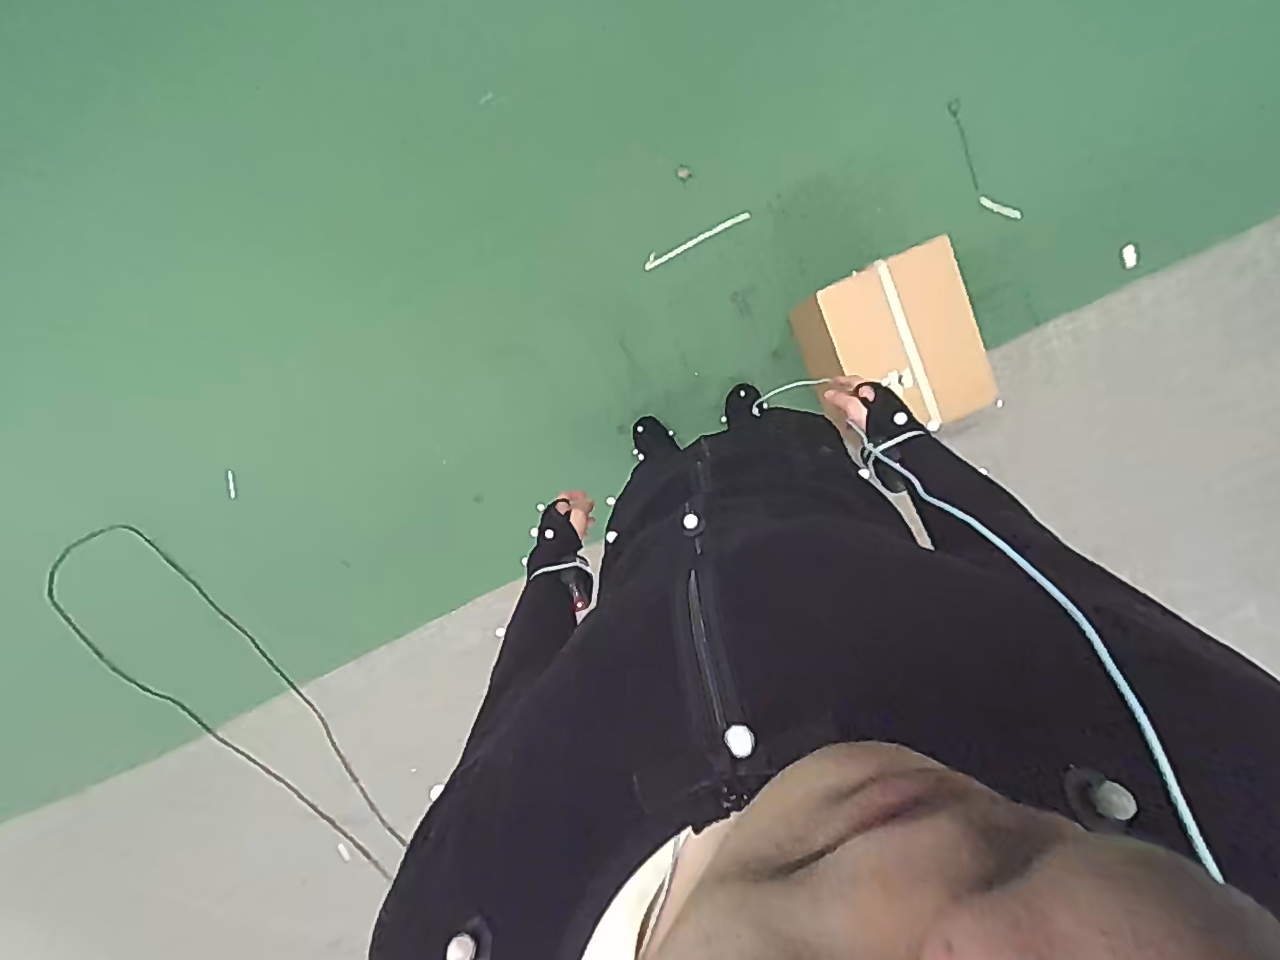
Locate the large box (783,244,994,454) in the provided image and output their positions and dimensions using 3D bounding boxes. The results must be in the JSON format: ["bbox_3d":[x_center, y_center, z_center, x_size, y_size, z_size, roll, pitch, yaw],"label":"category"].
[{"bbox_3d":[0.620,-0.324,1.409,0.320,0.320,0.408,-23,98,6],"label":"large box"}]
